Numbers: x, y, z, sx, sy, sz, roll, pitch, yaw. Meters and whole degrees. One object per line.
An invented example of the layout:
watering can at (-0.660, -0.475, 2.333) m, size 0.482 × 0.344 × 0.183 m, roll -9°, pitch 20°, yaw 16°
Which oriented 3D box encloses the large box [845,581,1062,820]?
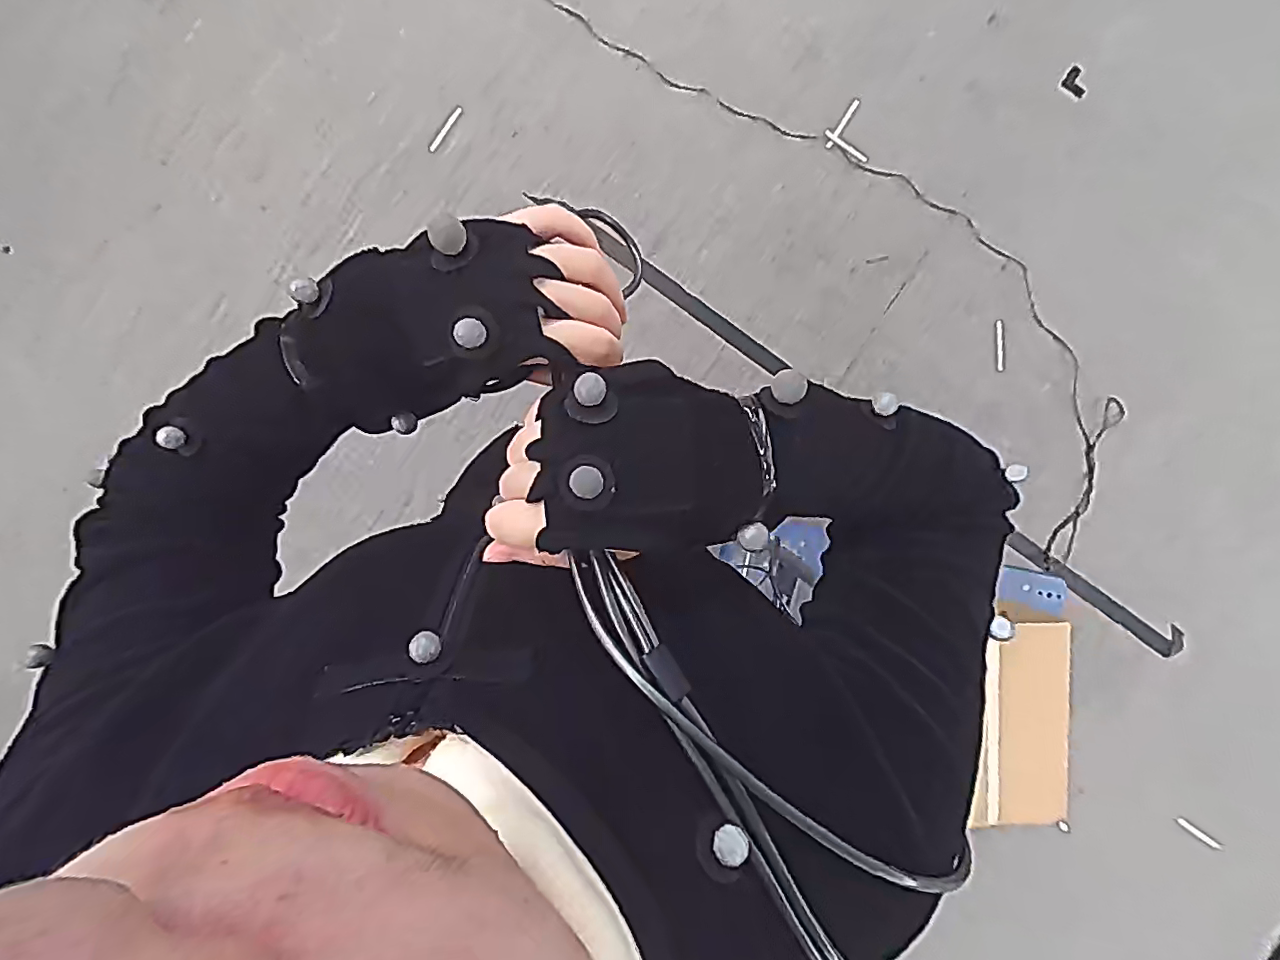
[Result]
large box at (0.670, 0.461, 1.207) m, size 0.320 × 0.320 × 0.408 m, roll 0°, pitch 93°, yaw -1°
